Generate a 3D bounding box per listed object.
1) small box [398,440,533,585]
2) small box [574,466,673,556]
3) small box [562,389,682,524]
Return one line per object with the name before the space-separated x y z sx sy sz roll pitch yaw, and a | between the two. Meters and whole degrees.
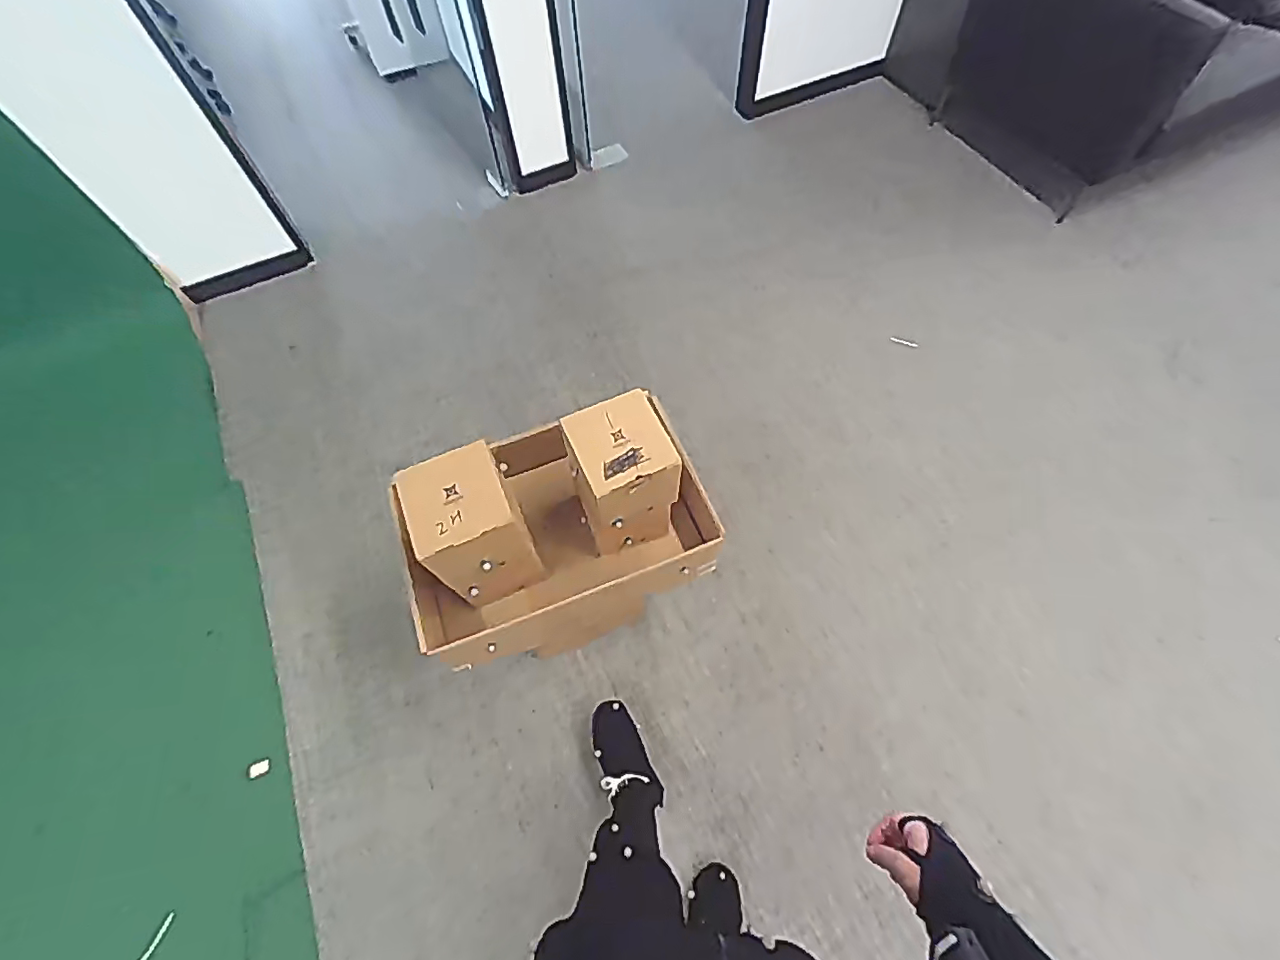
small box | -0.308 0.063 0.977 0.168 0.176 0.179 -22 64 -9
small box | -0.039 0.040 1.170 0.168 0.176 0.179 -18 64 -9
small box | -0.032 -0.034 1.023 0.168 0.176 0.179 -22 64 -11
